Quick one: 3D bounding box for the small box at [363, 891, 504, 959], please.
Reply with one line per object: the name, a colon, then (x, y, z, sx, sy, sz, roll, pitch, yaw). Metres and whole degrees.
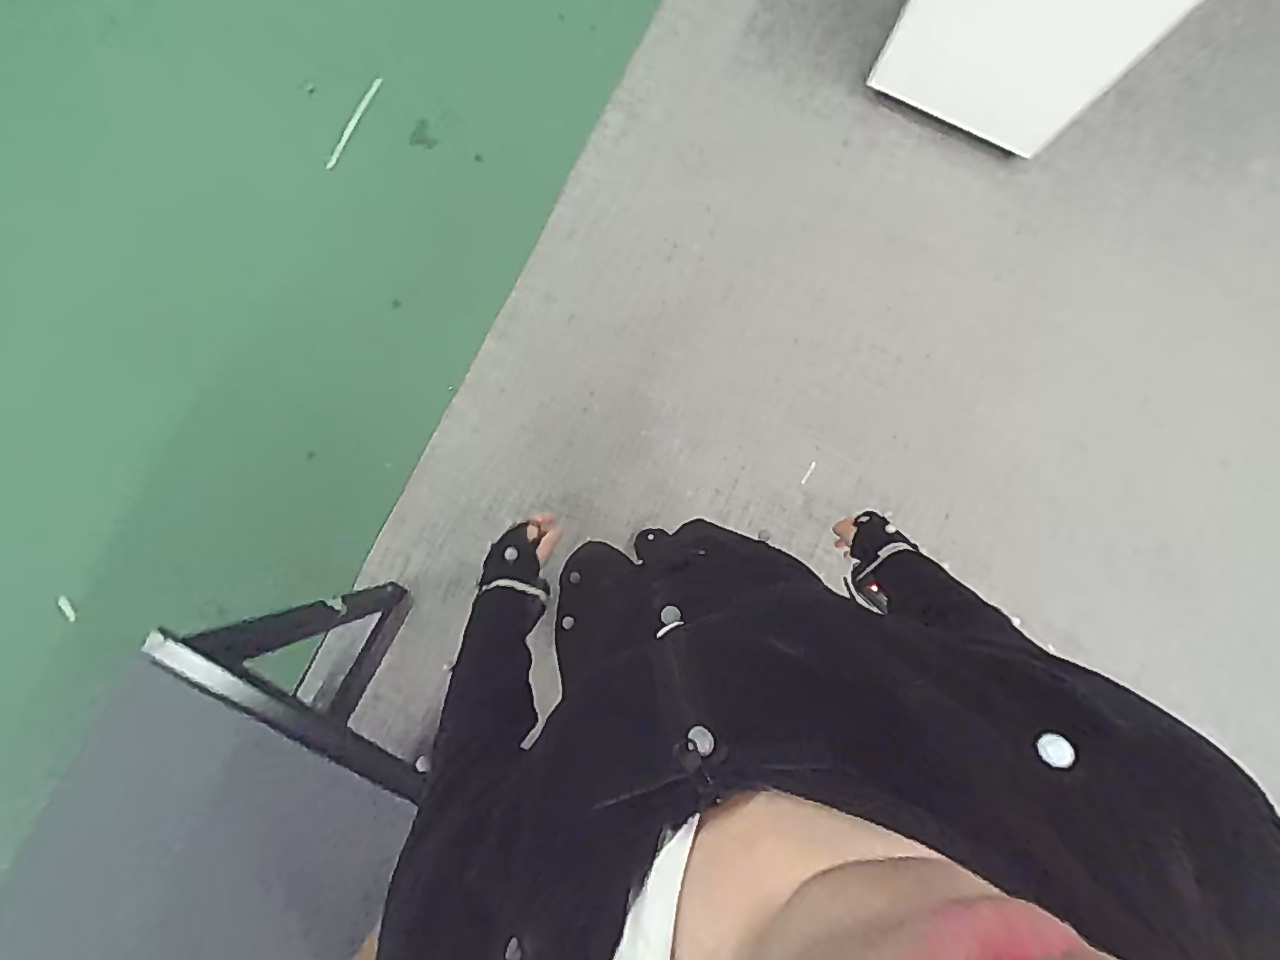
small box: (-0.290, 0.669, 0.657, 0.168, 0.176, 0.179, 30, 88, 2)
